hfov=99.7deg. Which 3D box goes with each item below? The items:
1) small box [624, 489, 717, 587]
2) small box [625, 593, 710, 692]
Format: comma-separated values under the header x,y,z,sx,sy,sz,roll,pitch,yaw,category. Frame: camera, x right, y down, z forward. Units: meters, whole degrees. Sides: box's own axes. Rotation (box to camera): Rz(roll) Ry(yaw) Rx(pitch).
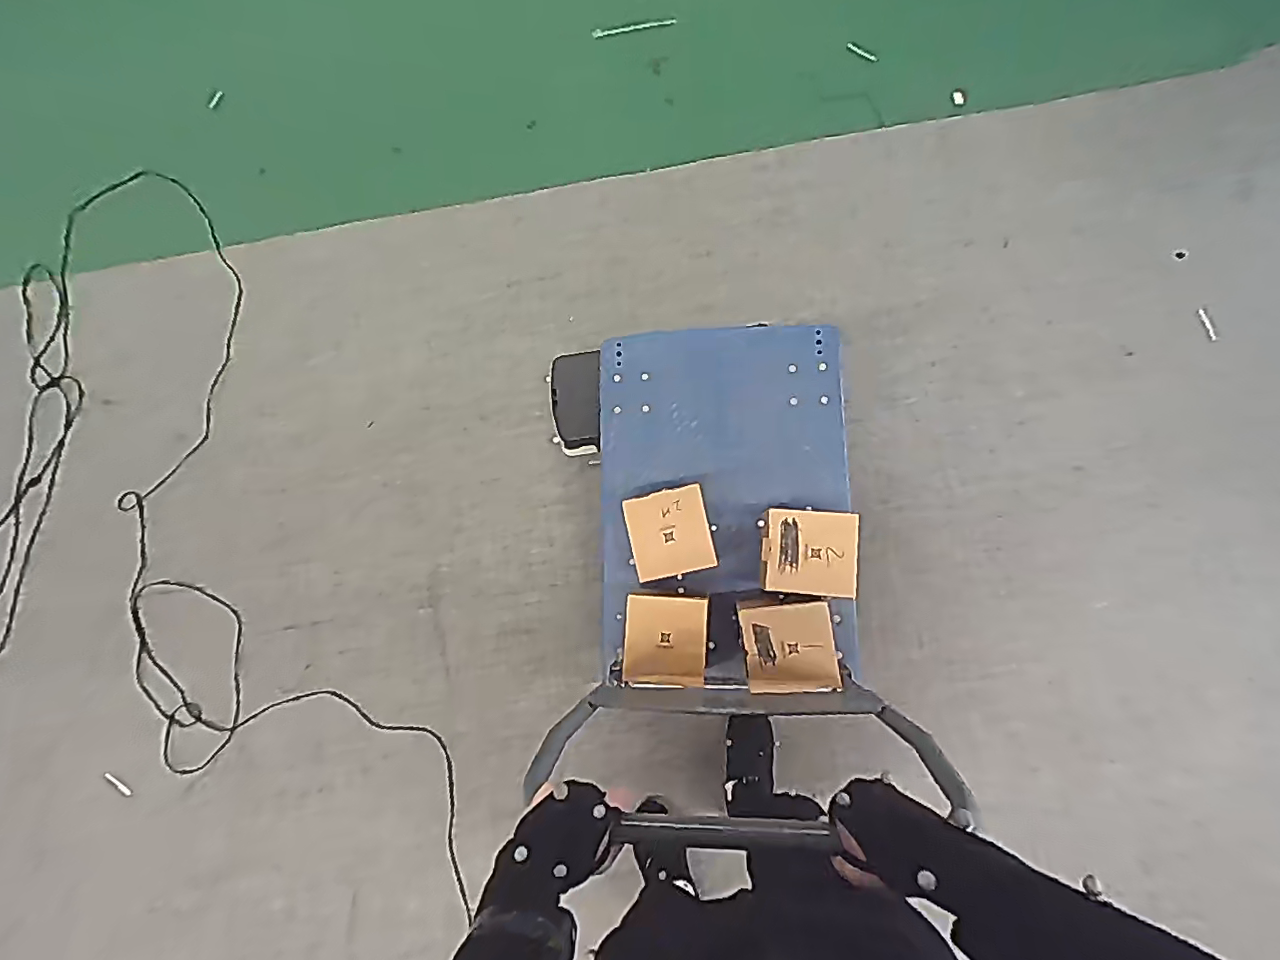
x,y,z,sx,sy,sz,roll,pitch,yaw,category
0.073,0.126,1.186,0.168,0.176,0.179,-13,82,6,small box
0.064,0.340,1.163,0.168,0.176,0.179,2,83,8,small box
